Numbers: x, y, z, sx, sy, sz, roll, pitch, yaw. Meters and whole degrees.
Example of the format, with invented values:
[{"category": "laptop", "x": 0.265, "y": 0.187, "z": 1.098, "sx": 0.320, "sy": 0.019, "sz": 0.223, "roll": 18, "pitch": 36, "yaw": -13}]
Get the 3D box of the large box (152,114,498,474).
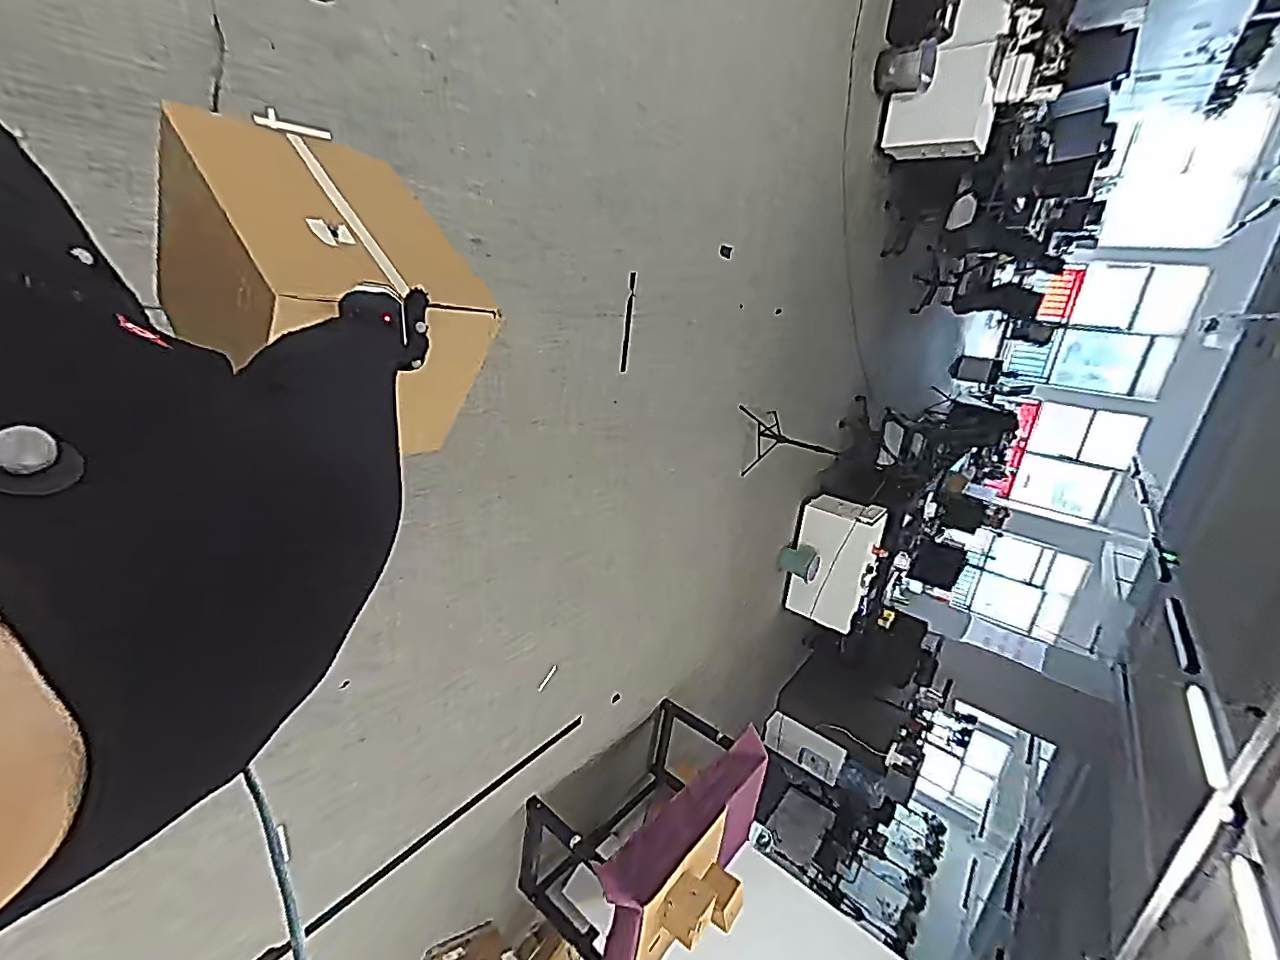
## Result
[{"category": "large box", "x": -0.512, "y": -0.274, "z": 0.868, "sx": 0.320, "sy": 0.408, "sz": 0.320, "roll": -17, "pitch": 154, "yaw": -51}]
